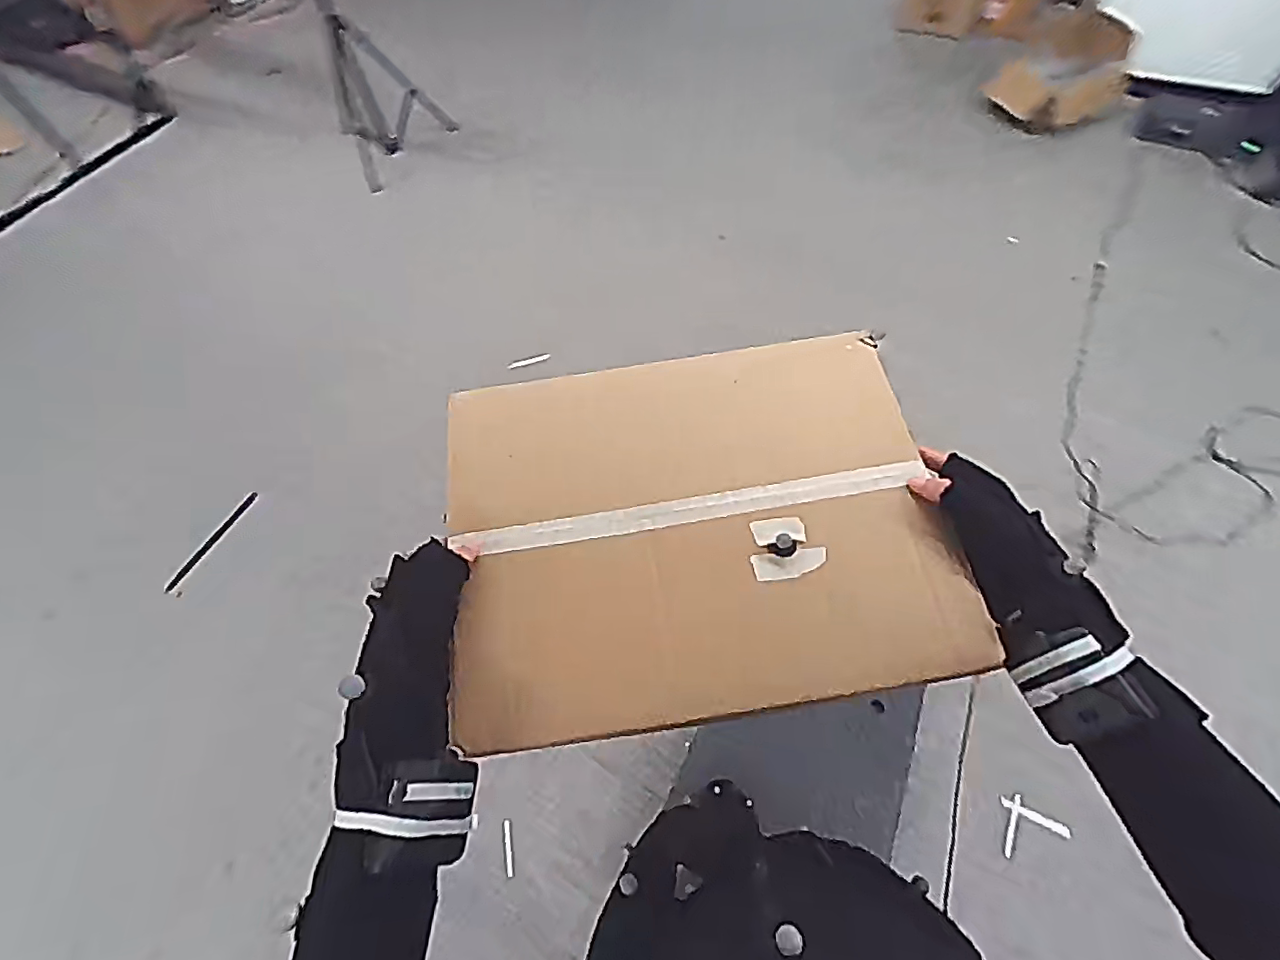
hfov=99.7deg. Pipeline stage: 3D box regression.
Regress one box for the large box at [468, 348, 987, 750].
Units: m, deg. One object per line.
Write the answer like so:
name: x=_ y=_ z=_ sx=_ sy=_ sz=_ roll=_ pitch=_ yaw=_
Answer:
large box: x=0.055 y=0.099 z=0.602 sx=0.408 sy=0.320 sz=0.320 roll=-8 pitch=65 yaw=-1
